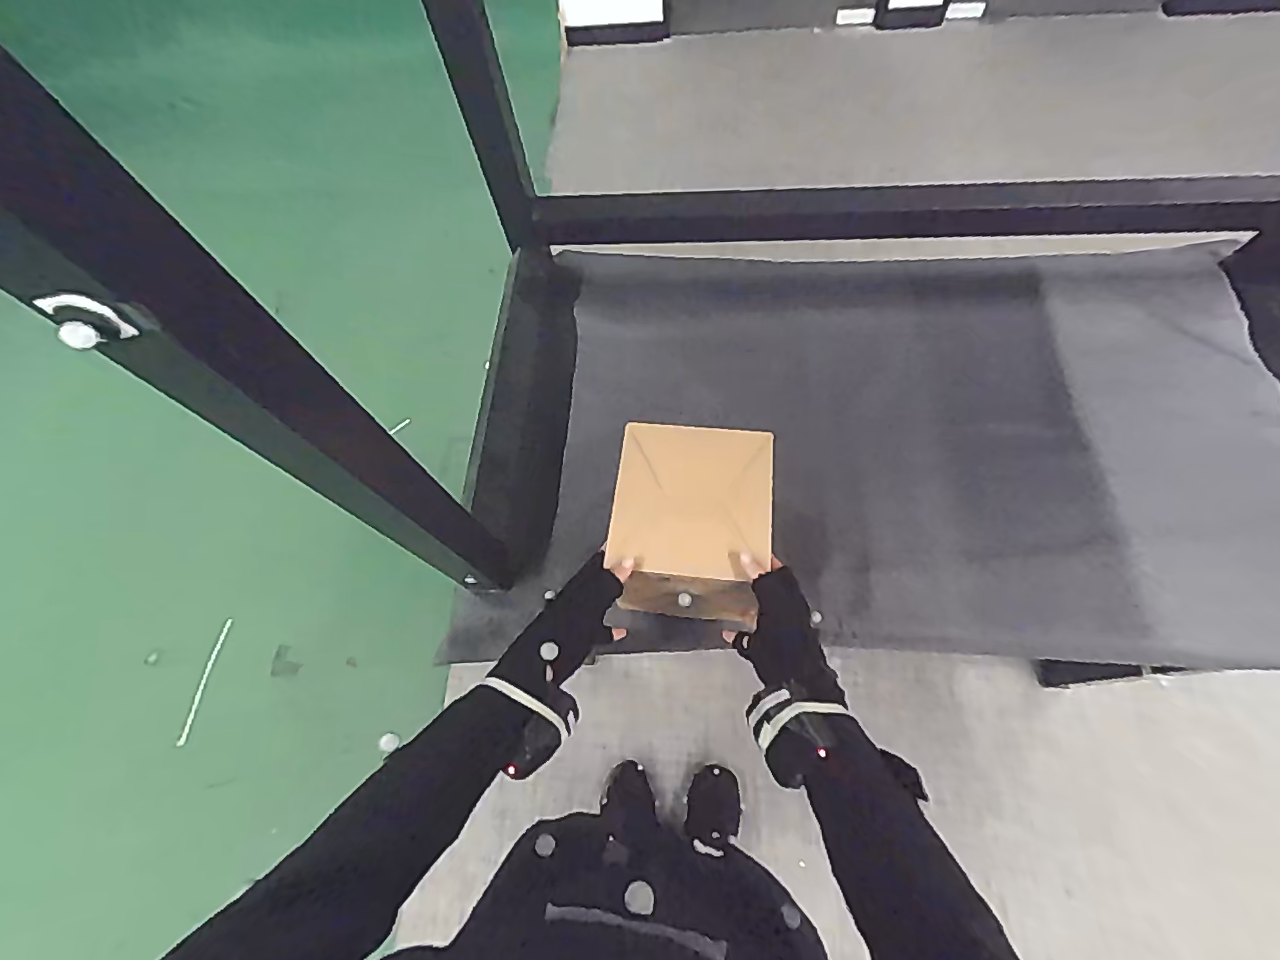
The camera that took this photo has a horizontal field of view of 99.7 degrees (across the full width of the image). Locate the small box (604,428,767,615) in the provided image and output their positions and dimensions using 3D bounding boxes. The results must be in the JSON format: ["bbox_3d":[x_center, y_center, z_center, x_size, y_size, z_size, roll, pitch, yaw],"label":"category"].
[{"bbox_3d":[0.056,0.049,0.639,0.168,0.176,0.179,4,63,7],"label":"small box"}]
